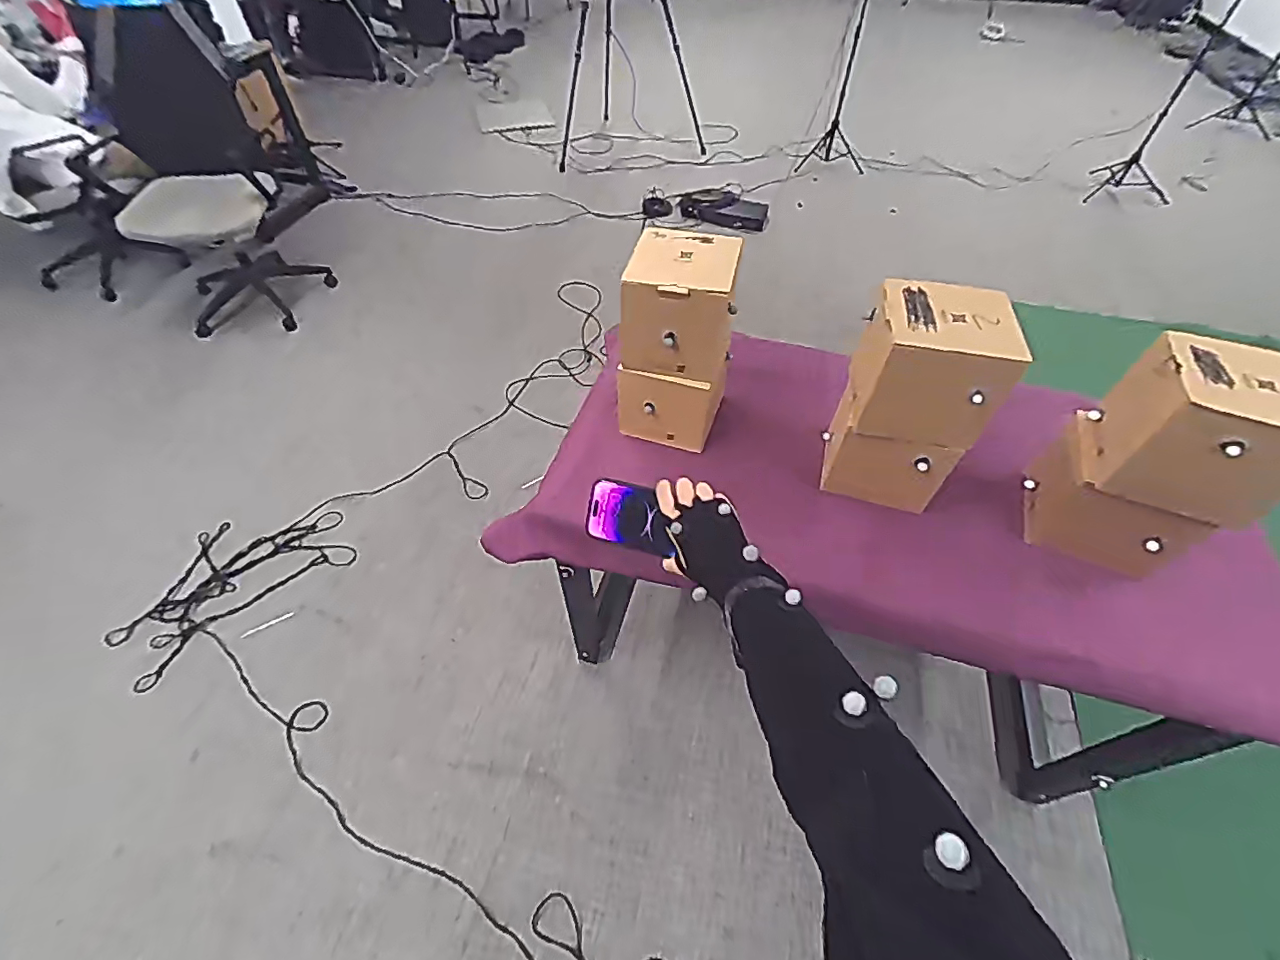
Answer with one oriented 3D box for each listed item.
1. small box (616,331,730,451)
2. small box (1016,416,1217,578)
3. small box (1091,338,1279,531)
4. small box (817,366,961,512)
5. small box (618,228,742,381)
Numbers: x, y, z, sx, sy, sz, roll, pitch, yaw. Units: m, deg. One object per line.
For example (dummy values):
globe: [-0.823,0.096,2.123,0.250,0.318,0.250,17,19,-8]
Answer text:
small box: [0.064,-0.181,1.029,0.168,0.176,0.179,16,52,12]
small box: [0.743,0.032,0.862,0.179,0.176,0.168,20,53,16]
small box: [0.747,-0.058,0.724,0.179,0.176,0.168,20,53,15]
small box: [0.426,-0.066,0.937,0.179,0.176,0.168,15,52,12]
small box: [0.067,-0.291,0.906,0.168,0.176,0.179,12,53,8]
